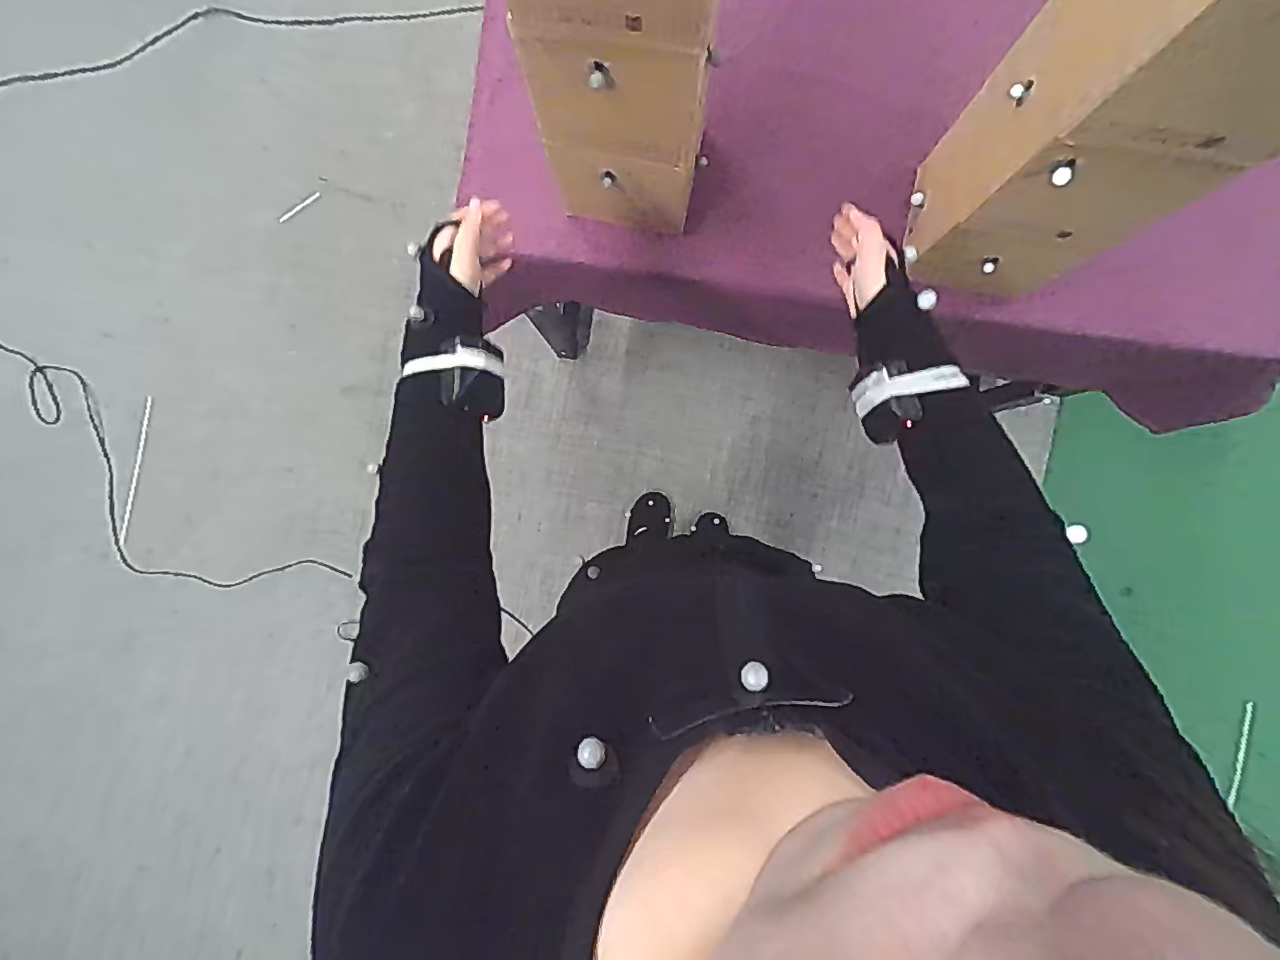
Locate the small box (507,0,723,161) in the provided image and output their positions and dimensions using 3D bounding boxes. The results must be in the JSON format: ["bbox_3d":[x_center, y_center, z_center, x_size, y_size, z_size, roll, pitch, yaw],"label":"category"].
[{"bbox_3d":[-0.012,-0.457,0.545,0.179,0.176,0.168,11,89,3],"label":"small box"}]

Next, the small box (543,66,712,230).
[{"bbox_3d":[-0.010,-0.454,0.709,0.179,0.176,0.168,12,90,2],"label":"small box"}]

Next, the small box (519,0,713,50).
[{"bbox_3d":[-0.016,-0.457,0.382,0.168,0.176,0.179,9,89,2],"label":"small box"}]

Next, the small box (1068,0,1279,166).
[{"bbox_3d":[0.433,-0.353,0.361,0.168,0.176,0.179,9,88,3],"label":"small box"}]

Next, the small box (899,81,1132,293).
[{"bbox_3d":[0.465,-0.355,0.689,0.179,0.176,0.168,12,89,3],"label":"small box"}]
